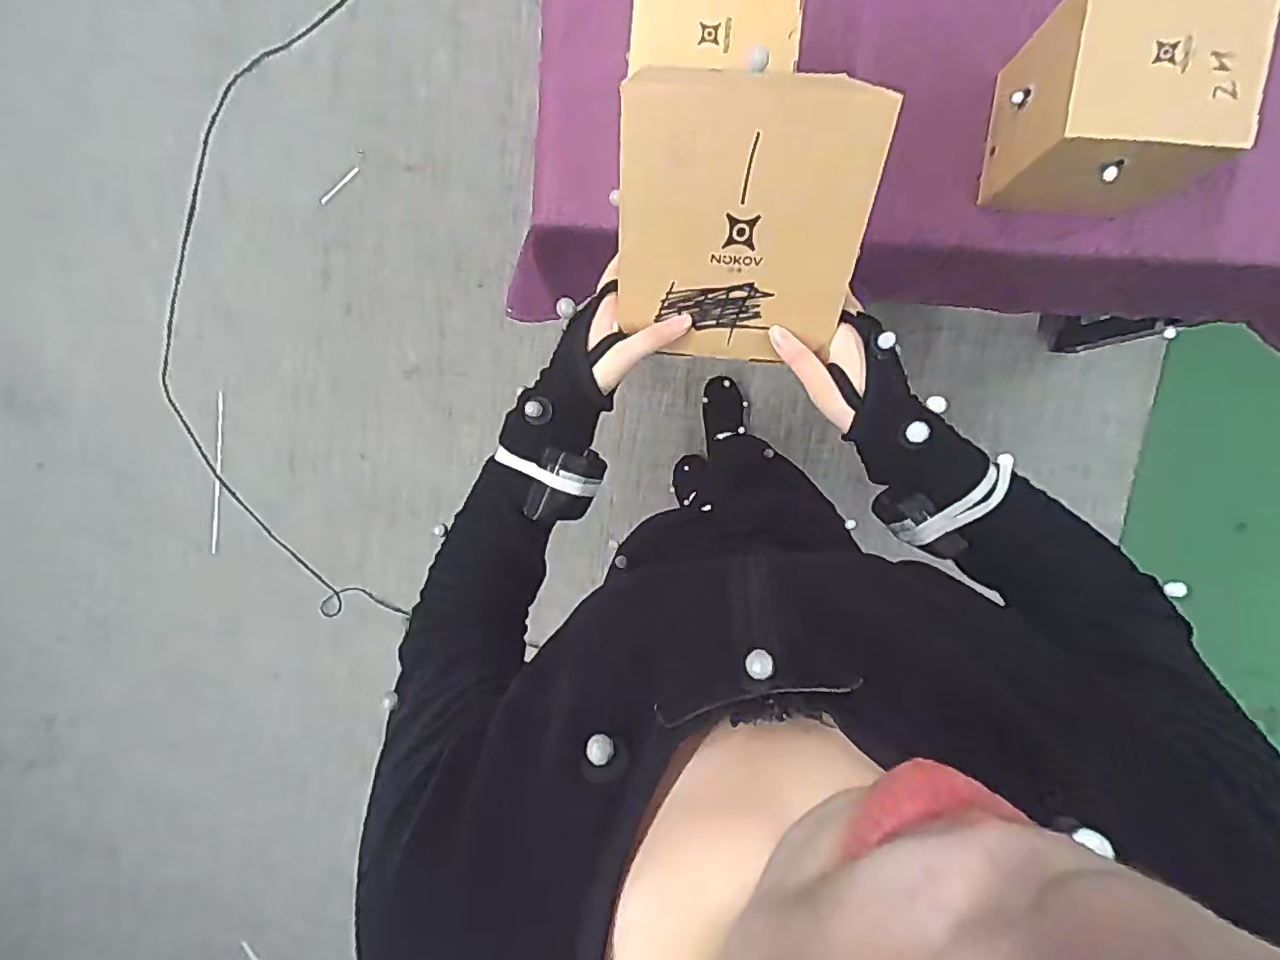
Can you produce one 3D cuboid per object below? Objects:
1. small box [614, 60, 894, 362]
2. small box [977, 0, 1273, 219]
[{"bbox_3d":[0.072,-0.217,0.432,0.168,0.176,0.179,5,130,2],"label":"small box"},{"bbox_3d":[0.518,-0.413,0.608,0.179,0.176,0.168,7,96,4],"label":"small box"}]
